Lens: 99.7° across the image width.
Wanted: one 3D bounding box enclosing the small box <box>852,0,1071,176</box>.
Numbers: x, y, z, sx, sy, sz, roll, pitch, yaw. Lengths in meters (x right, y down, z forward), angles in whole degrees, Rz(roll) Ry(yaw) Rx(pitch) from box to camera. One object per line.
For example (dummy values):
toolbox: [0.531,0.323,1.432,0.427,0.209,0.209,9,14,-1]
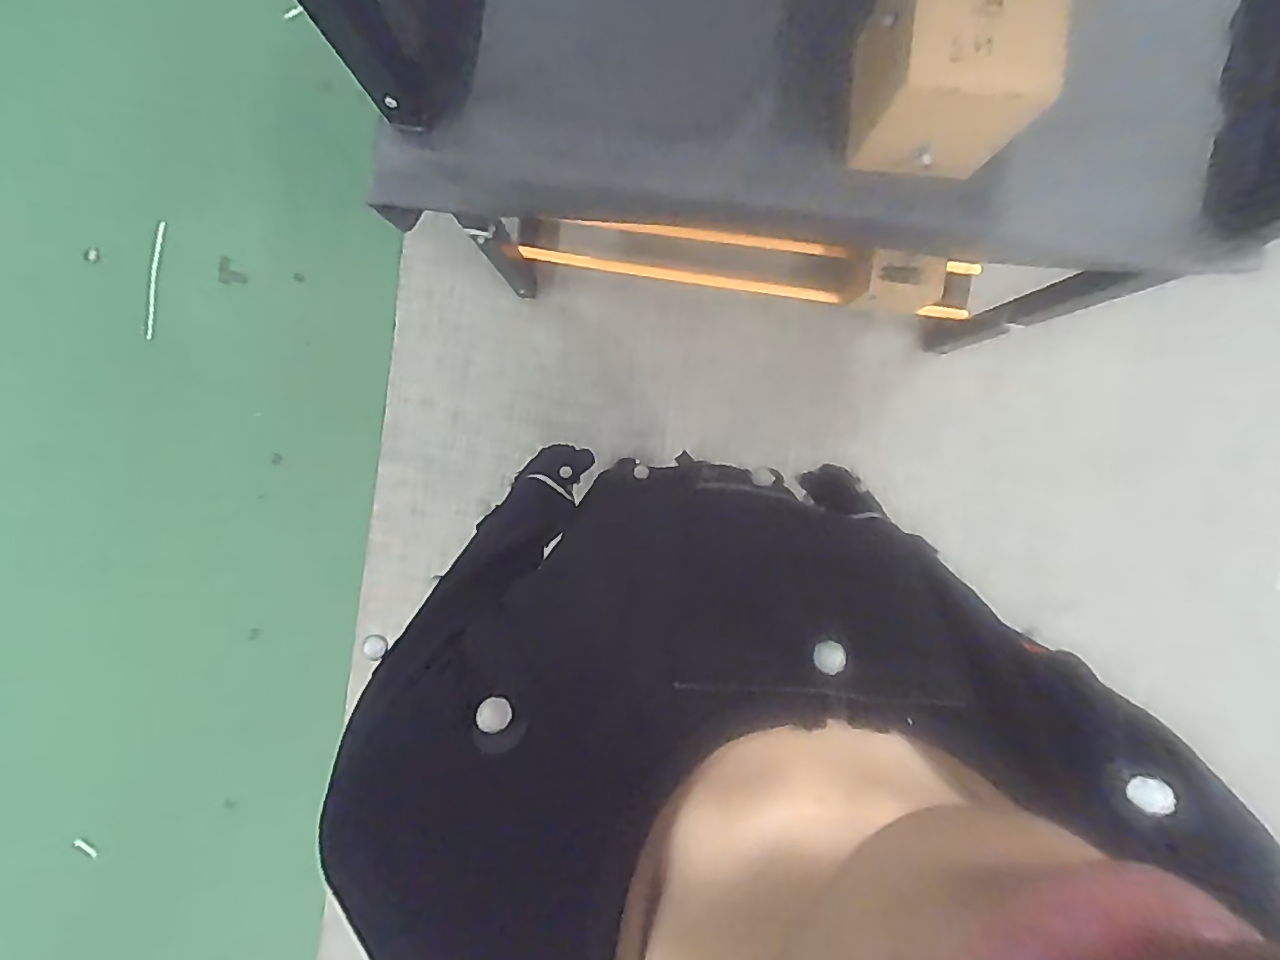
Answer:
small box: [0.373,-0.505,0.651,0.168,0.176,0.179,6,92,0]
